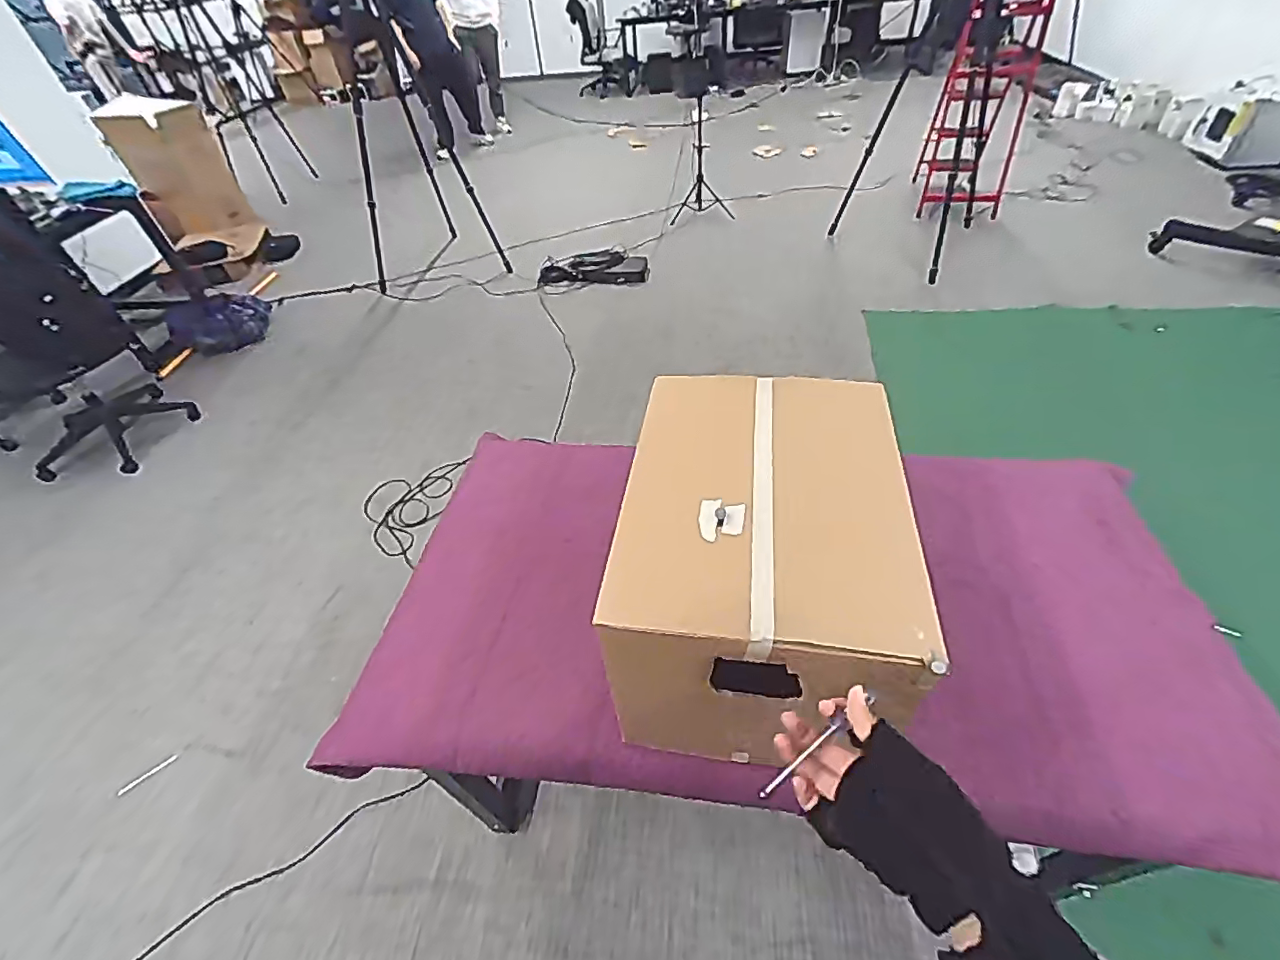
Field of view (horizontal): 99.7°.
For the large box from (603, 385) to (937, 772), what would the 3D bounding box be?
[{"bbox_3d":[0.151,0.118,0.739,0.320,0.320,0.408,4,47,10],"label":"large box"}]
